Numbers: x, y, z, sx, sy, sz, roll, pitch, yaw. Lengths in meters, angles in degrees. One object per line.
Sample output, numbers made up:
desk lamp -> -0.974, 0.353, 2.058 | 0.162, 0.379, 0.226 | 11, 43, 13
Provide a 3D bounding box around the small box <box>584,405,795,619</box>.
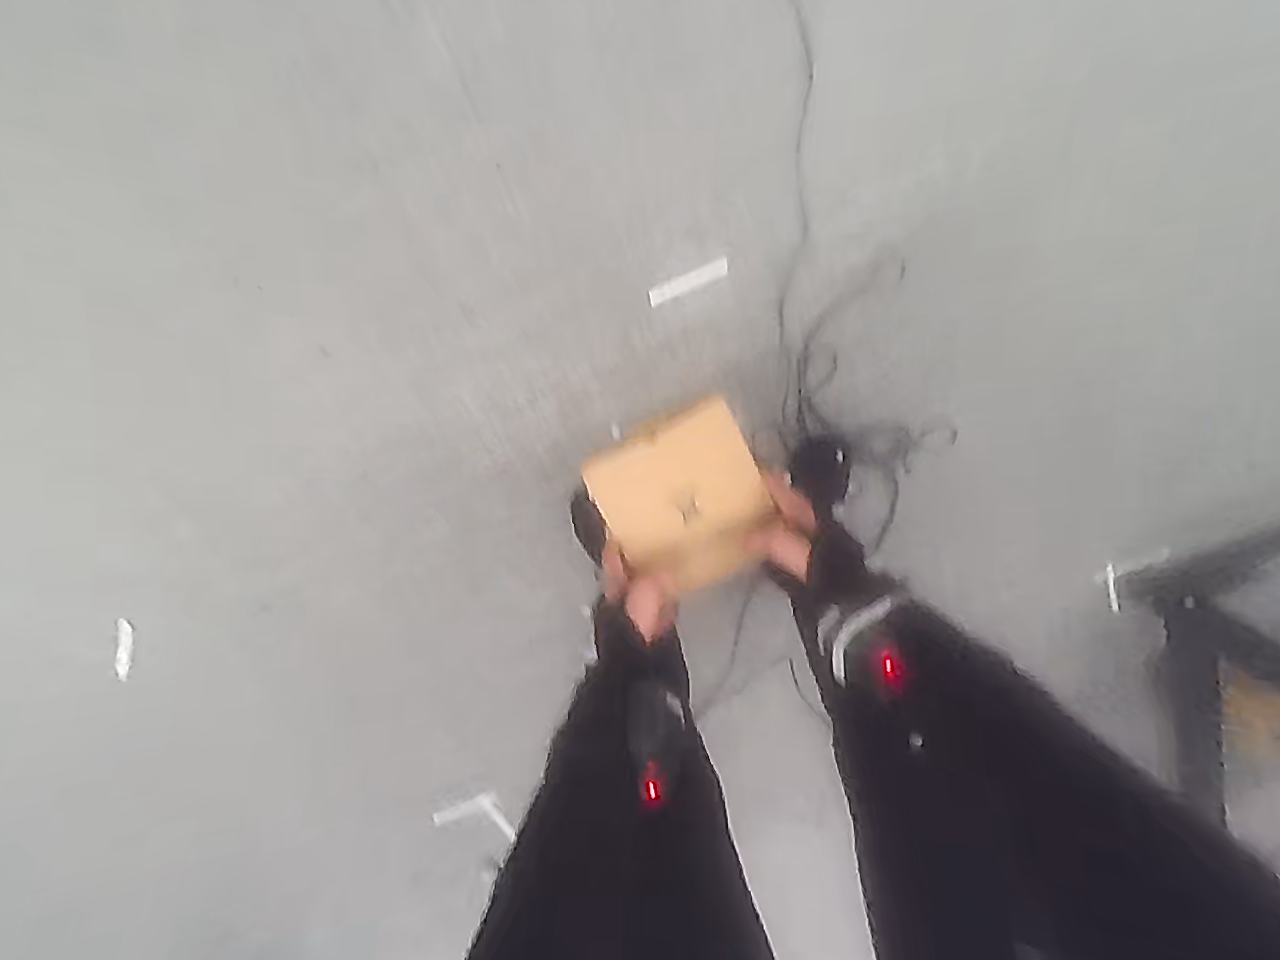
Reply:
small box -> 0.050, 0.024, 0.630 | 0.168, 0.176, 0.179 | -27, 100, 5
